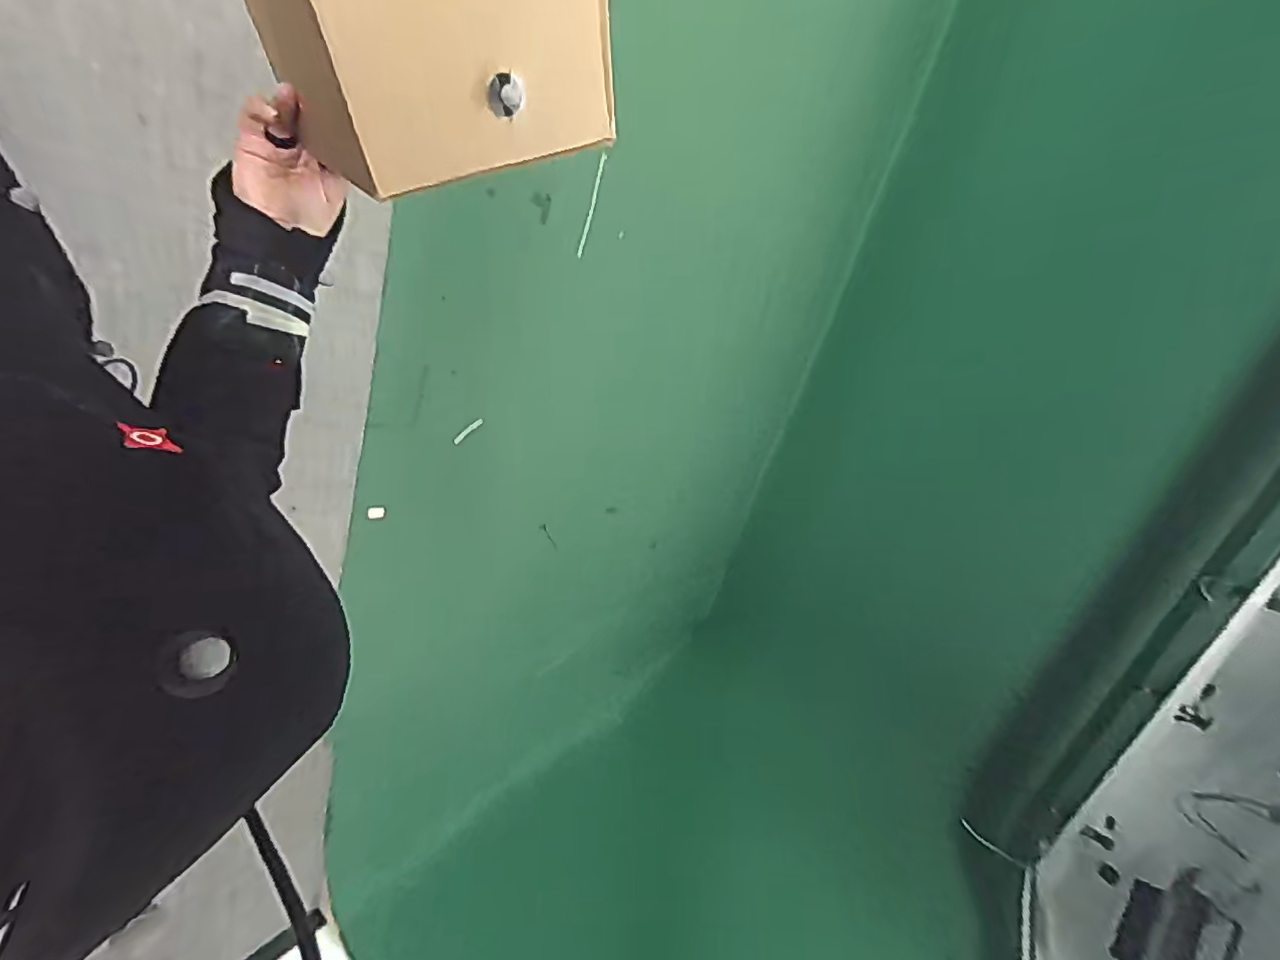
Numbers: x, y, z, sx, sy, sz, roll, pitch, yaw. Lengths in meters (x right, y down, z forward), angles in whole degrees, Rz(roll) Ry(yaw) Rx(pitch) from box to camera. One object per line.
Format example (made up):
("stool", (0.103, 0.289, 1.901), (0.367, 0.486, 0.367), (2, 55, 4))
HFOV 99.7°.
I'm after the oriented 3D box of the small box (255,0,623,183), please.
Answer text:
("small box", (-0.130, -0.309, 0.333), (0.179, 0.168, 0.176), (-30, 139, -25))
